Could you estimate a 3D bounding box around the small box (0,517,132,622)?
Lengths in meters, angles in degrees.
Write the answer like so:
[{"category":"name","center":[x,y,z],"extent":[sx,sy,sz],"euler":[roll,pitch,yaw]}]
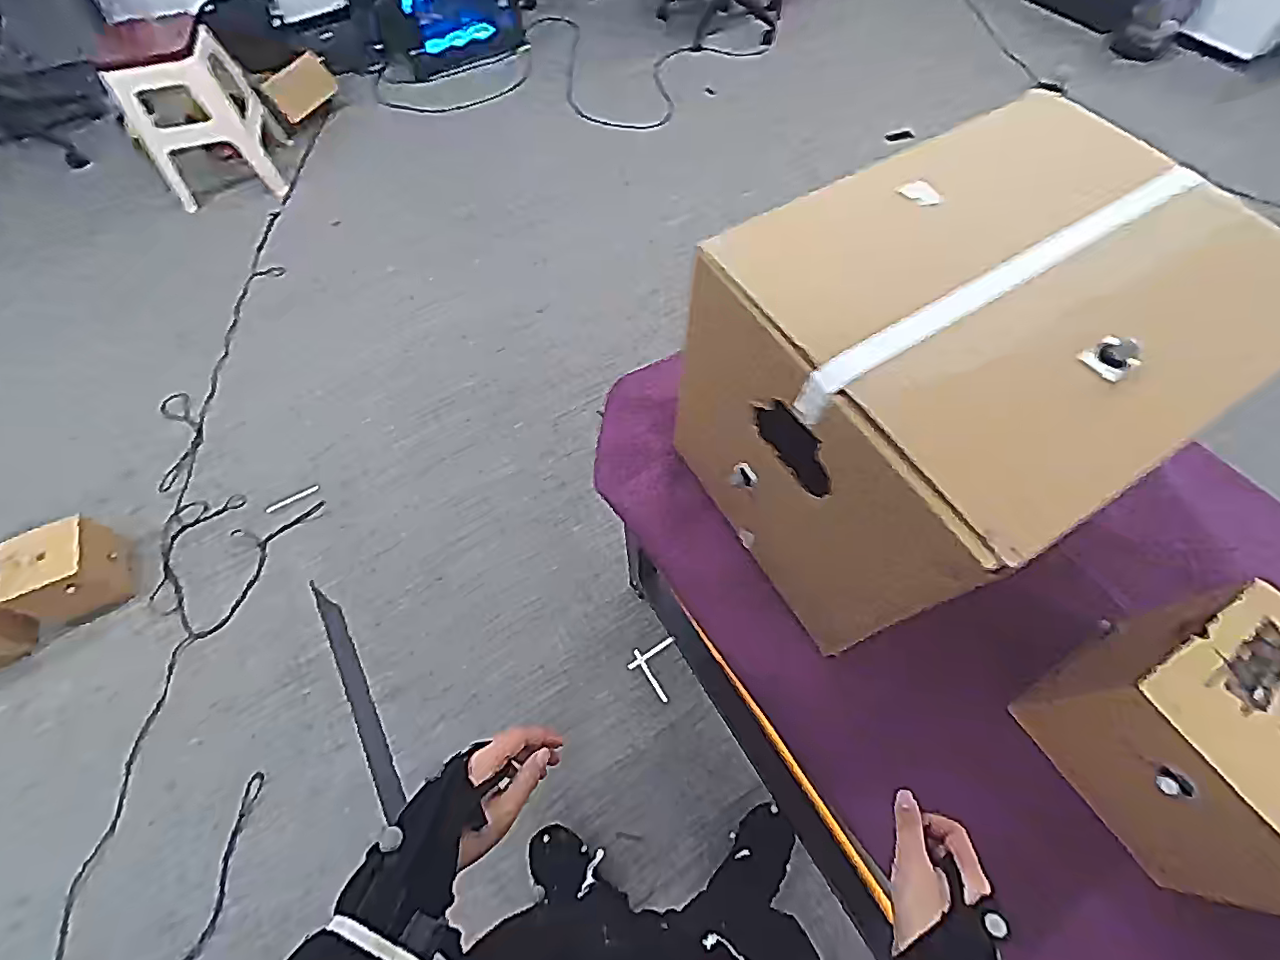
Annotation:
[{"category":"small box","center":[-1.384,0.220,1.308],"extent":[0.179,0.176,0.168],"euler":[-24,63,-11]}]
